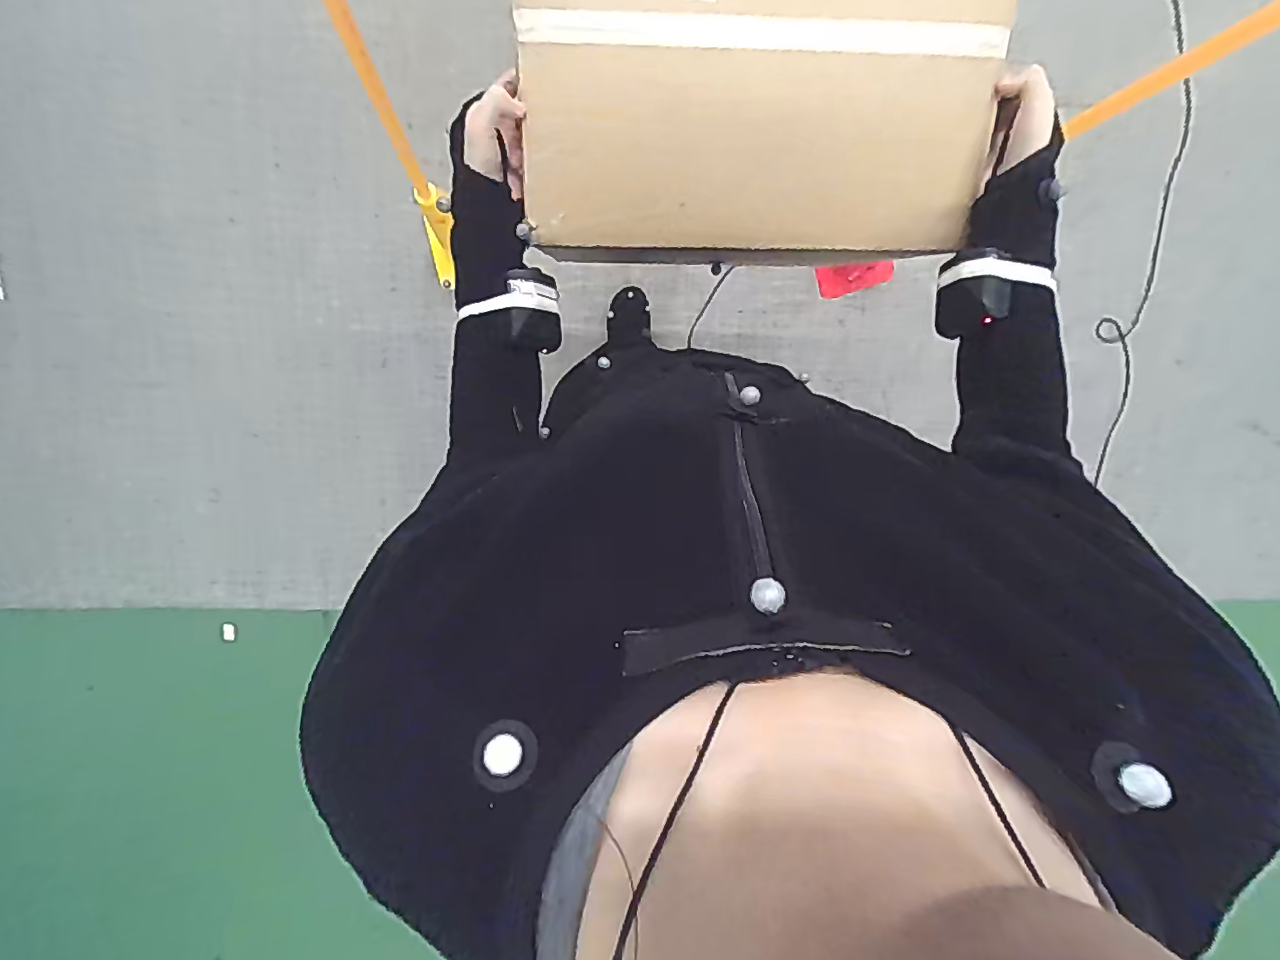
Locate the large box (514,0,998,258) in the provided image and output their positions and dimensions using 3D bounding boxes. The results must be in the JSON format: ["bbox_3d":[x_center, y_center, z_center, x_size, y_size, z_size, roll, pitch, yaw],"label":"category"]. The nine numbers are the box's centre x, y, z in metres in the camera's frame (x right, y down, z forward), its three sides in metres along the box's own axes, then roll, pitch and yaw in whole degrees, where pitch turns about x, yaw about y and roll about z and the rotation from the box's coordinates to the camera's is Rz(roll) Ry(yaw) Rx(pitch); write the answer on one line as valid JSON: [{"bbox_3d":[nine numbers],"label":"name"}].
[{"bbox_3d":[0.091,-0.413,0.589,0.408,0.320,0.320,-1,109,-3],"label":"large box"}]
